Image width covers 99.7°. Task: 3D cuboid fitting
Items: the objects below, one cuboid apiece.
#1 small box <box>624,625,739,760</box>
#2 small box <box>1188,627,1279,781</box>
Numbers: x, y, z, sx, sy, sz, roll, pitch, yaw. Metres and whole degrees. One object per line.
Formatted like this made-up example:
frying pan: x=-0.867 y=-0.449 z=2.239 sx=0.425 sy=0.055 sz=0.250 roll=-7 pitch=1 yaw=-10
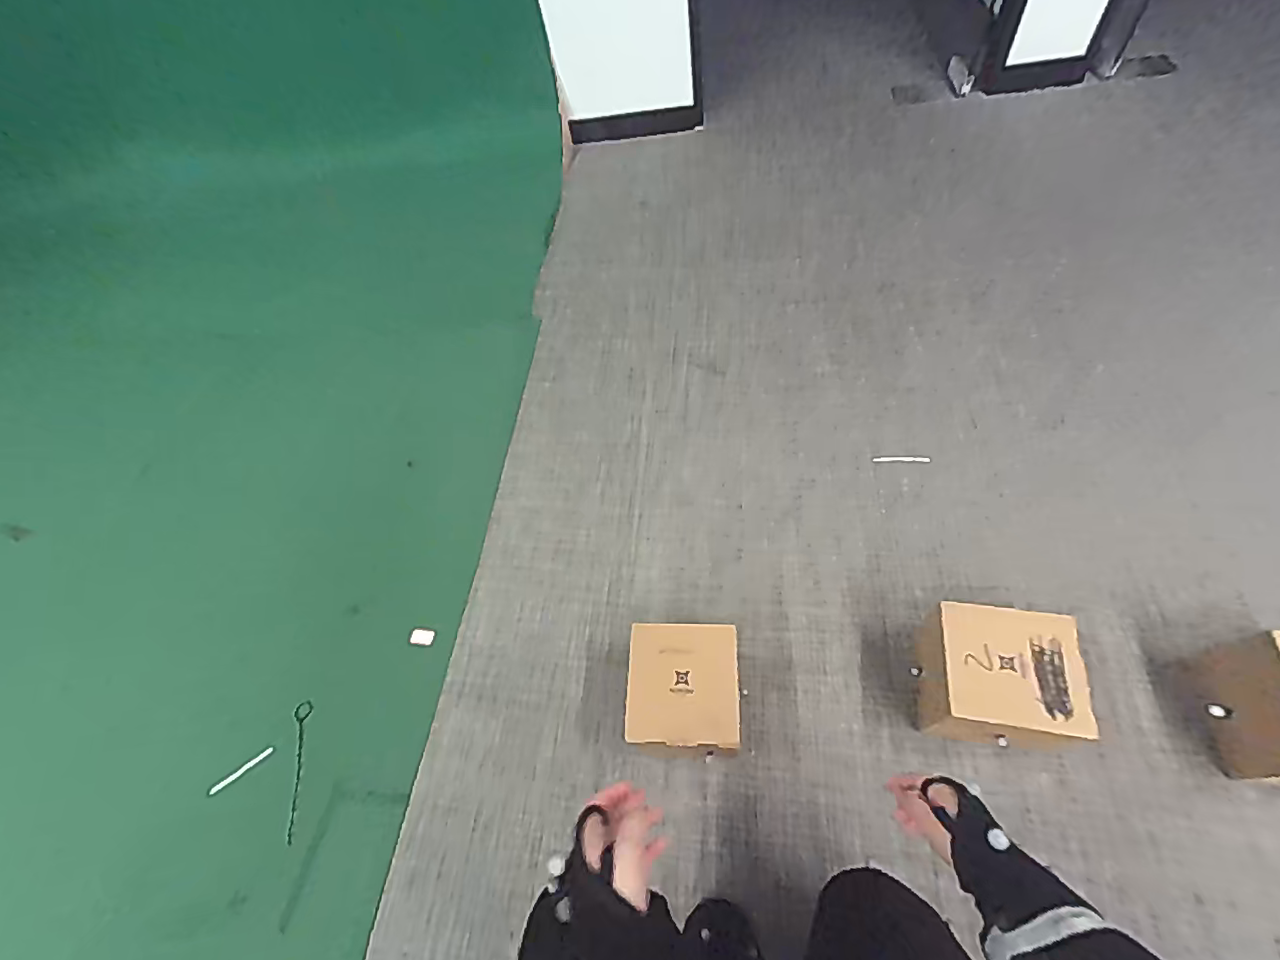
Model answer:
small box: x=0.075 y=0.346 z=0.872 sx=0.168 sy=0.176 sz=0.179 roll=-1 pitch=57 yaw=9
small box: x=0.920 y=0.314 z=0.733 sx=0.168 sy=0.176 sz=0.179 roll=2 pitch=59 yaw=11
